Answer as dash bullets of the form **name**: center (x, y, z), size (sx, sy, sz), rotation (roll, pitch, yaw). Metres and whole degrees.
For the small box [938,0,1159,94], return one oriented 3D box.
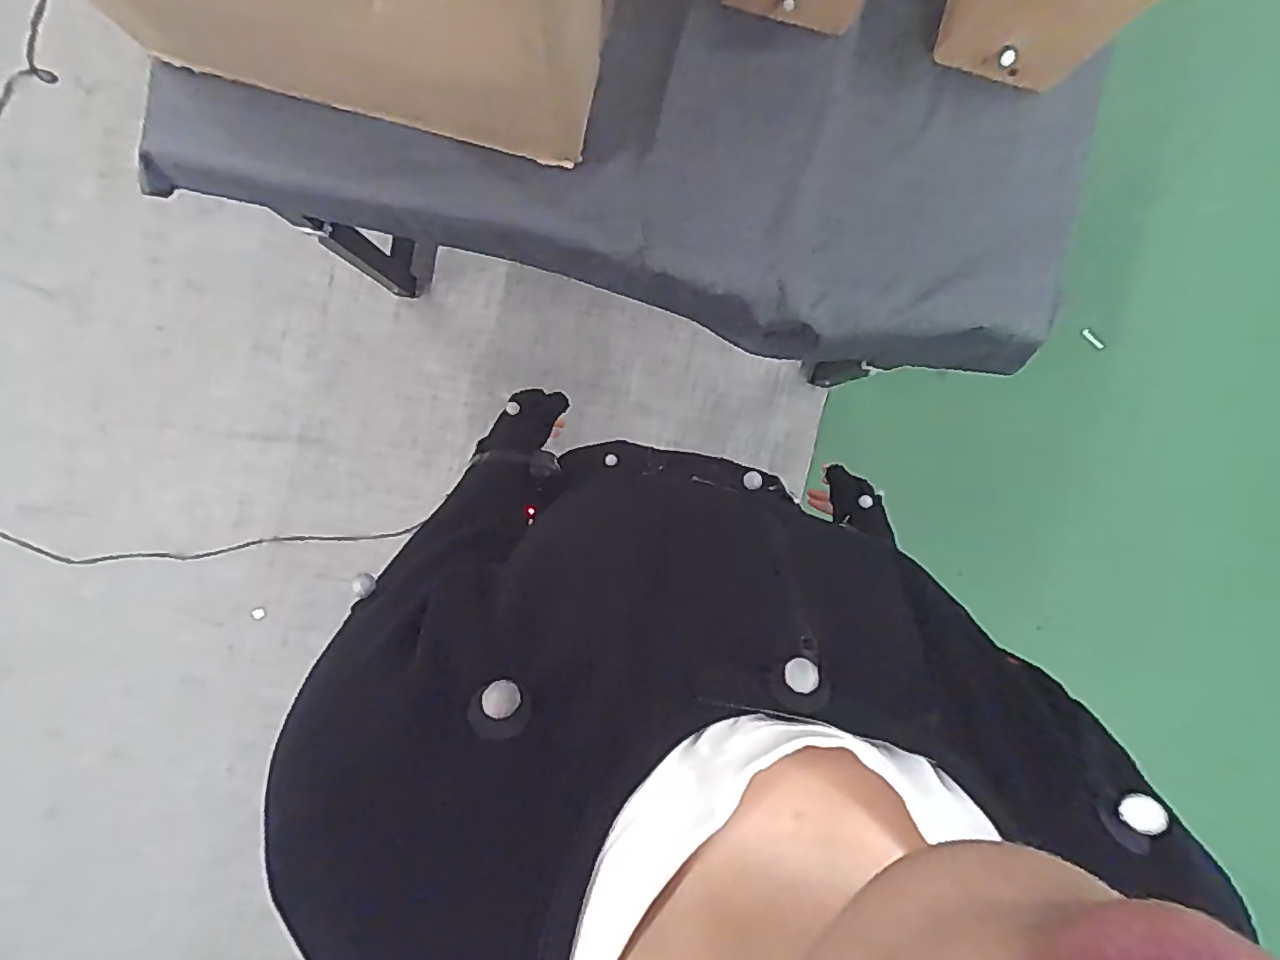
- **small box**: center (0.495, -0.620, 0.646), size (0.168, 0.176, 0.179), rotation (14, 94, -3)
